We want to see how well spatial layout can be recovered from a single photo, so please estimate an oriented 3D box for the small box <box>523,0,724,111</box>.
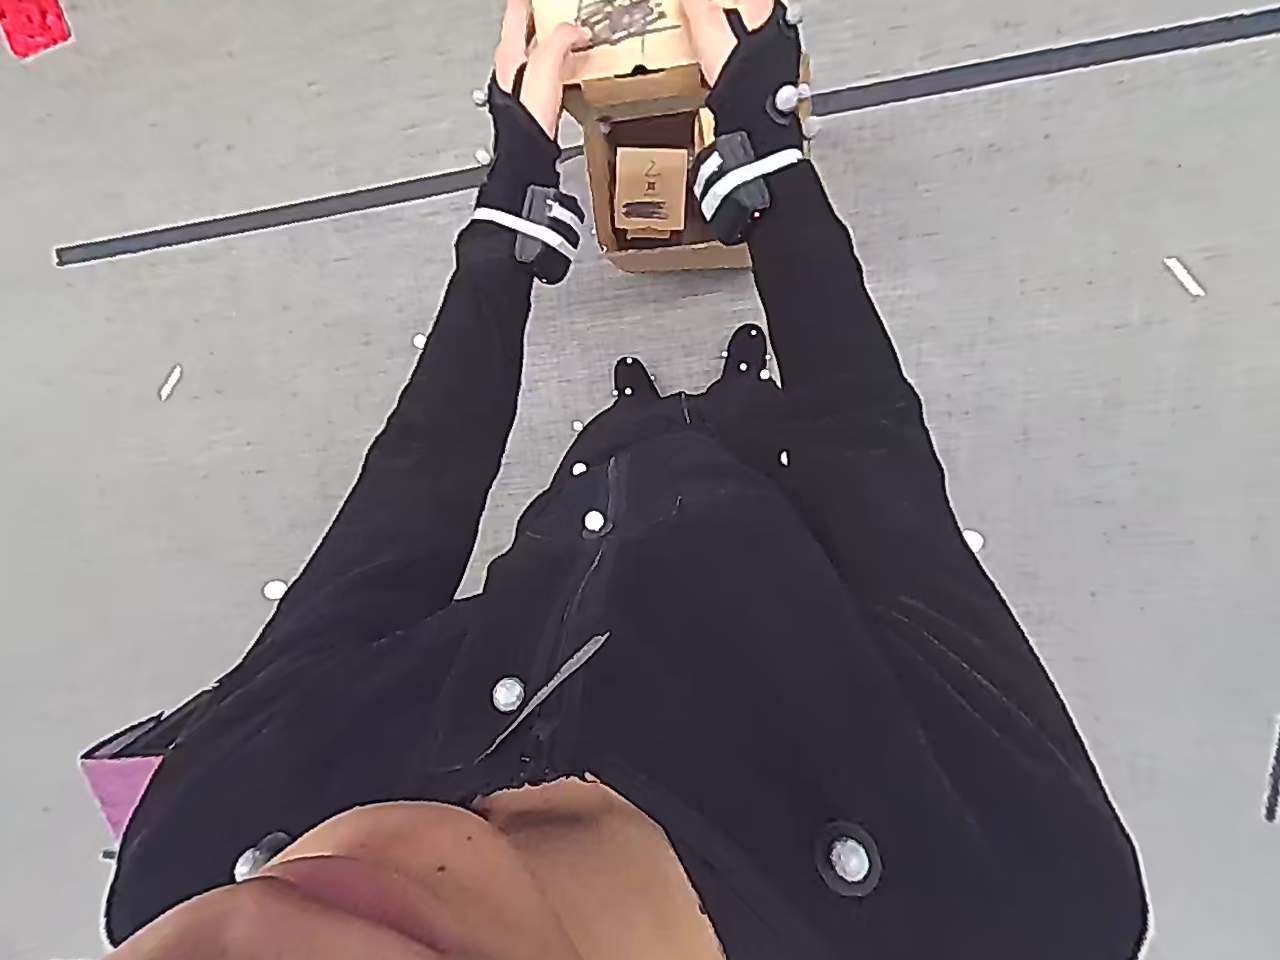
[{"bbox_3d":[-0.011,-0.457,0.493,0.168,0.176,0.179,-4,114,6],"label":"small box"}]
